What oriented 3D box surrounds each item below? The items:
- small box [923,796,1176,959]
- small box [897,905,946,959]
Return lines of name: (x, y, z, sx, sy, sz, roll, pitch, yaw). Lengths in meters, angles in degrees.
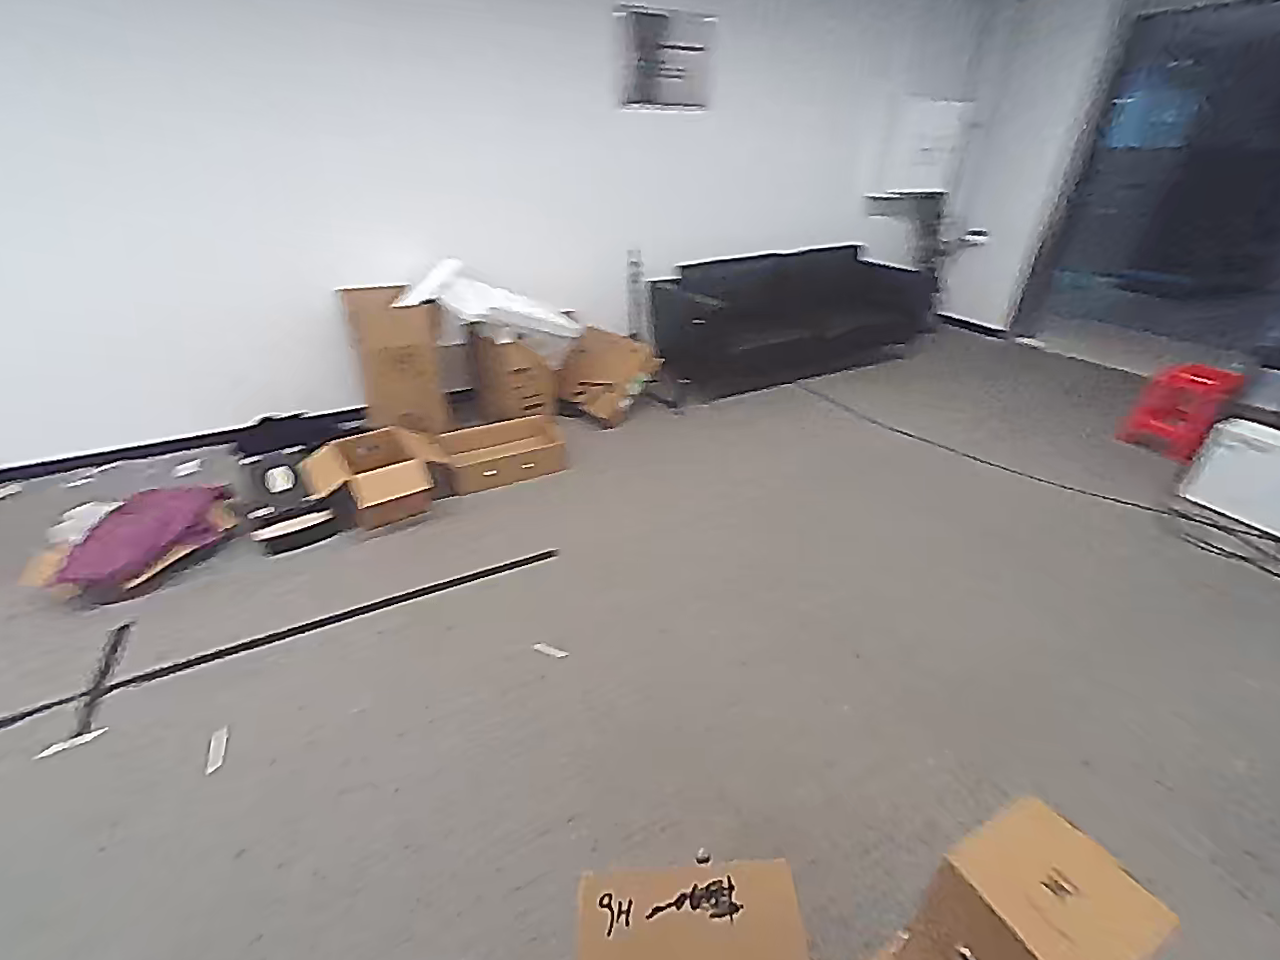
small box: (0.487, 0.546, 0.670, 0.179, 0.176, 0.168, -16, 32, -21)
small box: (0.491, 0.685, 0.754, 0.179, 0.176, 0.168, -16, 33, -22)
